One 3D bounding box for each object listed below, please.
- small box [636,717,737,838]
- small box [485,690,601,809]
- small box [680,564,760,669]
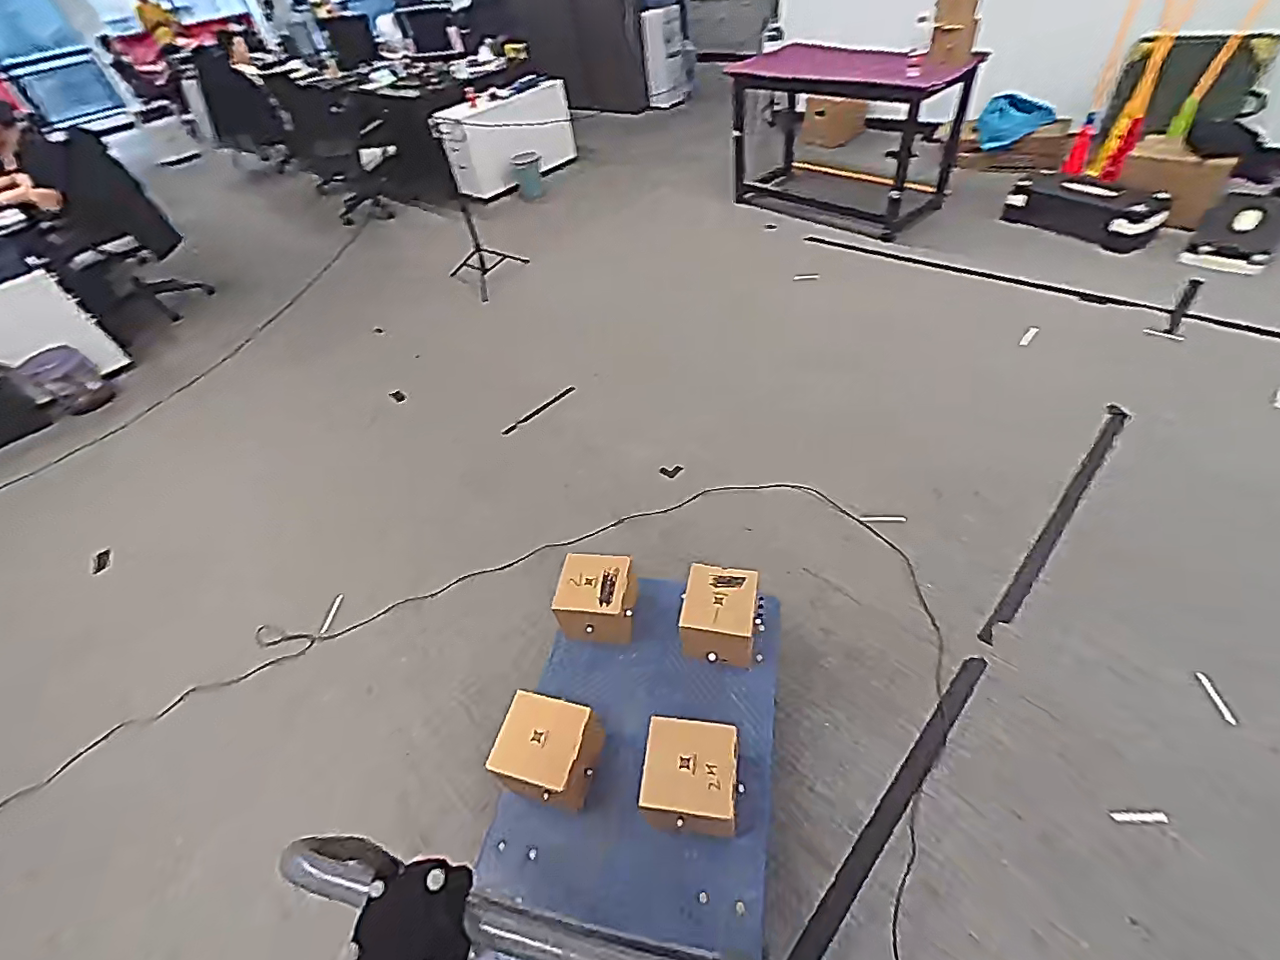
[{"bbox_3d":[0.102,0.603,1.093,0.179,0.176,0.168,2,48,12],"label":"small box"},{"bbox_3d":[-0.198,0.583,1.166,0.179,0.176,0.168,8,48,15],"label":"small box"},{"bbox_3d":[0.198,0.335,1.329,0.168,0.176,0.179,6,50,15],"label":"small box"}]
